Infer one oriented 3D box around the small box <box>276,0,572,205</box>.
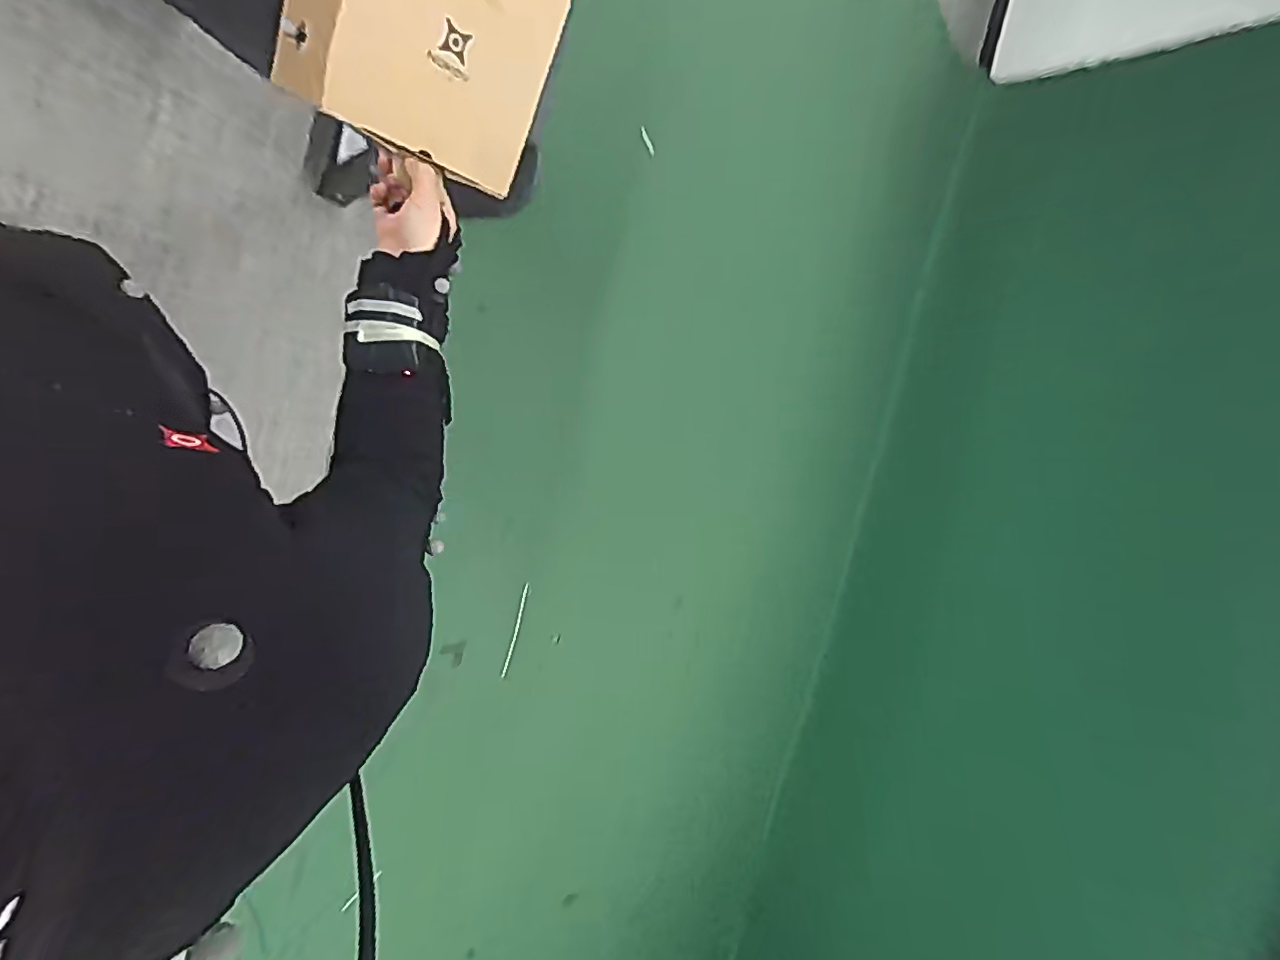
[{"bbox_3d":[-0.195,-0.378,0.470,0.168,0.176,0.179,2,121,-48],"label":"small box"}]
